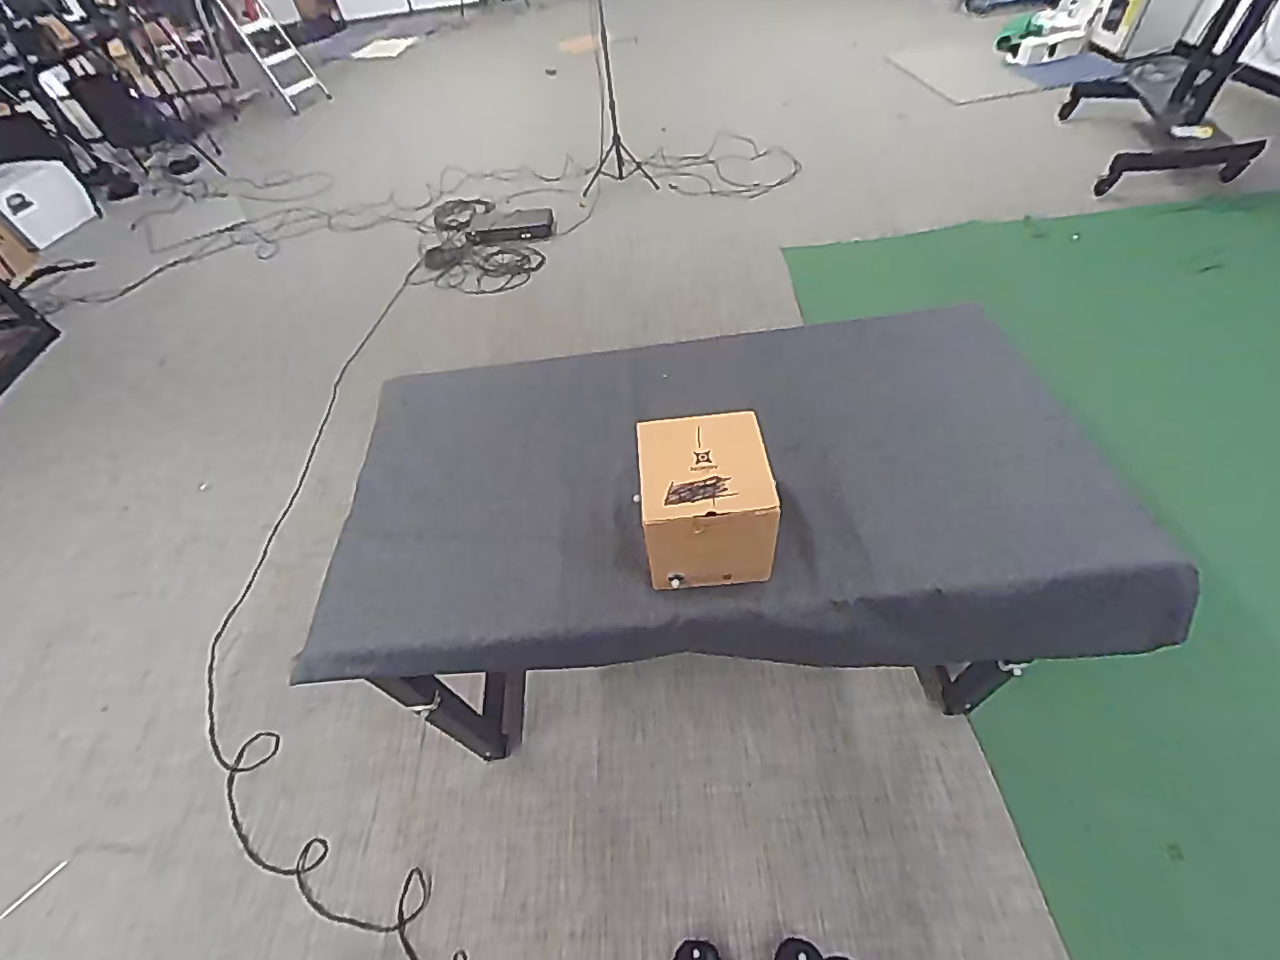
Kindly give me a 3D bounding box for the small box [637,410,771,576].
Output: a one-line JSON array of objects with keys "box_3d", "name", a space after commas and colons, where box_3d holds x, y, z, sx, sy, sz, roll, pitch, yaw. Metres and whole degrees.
[{"box_3d": [0.088, 0.026, 0.776, 0.168, 0.176, 0.179, -5, 49, 3], "name": "small box"}]
